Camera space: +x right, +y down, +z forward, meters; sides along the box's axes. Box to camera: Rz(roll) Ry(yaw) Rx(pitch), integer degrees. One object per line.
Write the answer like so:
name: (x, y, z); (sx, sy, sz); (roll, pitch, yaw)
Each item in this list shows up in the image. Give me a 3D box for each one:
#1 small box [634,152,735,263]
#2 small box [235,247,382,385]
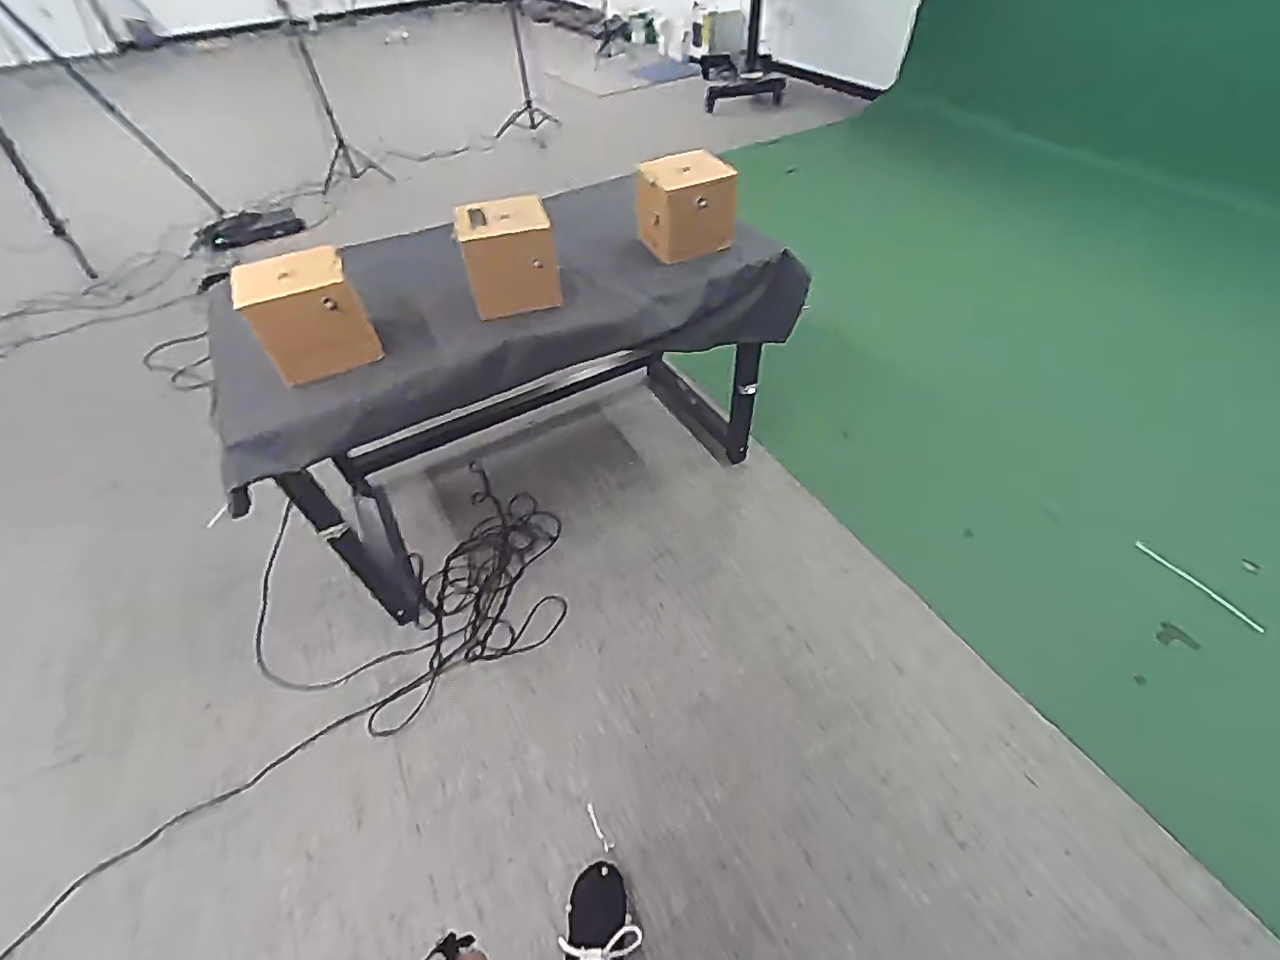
small box: (0.100, -0.624, 1.247); (0.179, 0.176, 0.168); (-21, 52, -15)
small box: (-0.615, -0.305, 1.012); (0.179, 0.176, 0.168); (-23, 51, -17)
